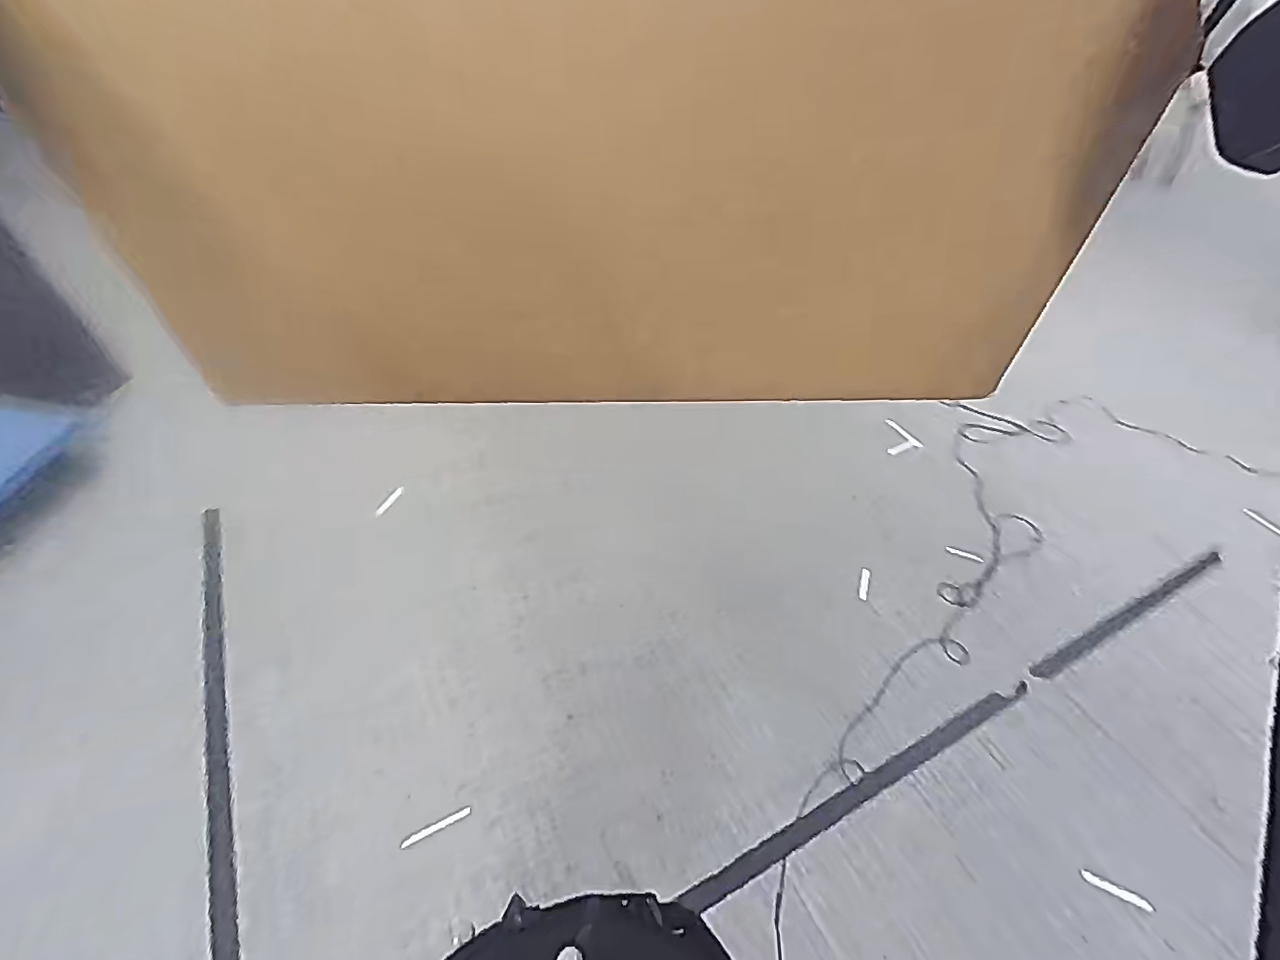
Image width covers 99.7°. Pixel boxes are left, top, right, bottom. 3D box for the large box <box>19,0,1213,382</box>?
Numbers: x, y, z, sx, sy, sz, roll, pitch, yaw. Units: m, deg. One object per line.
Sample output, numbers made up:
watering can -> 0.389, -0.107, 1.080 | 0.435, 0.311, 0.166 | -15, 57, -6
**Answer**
large box -> -0.008, -0.262, 0.280 | 0.408, 0.320, 0.320 | 1, 48, -1
